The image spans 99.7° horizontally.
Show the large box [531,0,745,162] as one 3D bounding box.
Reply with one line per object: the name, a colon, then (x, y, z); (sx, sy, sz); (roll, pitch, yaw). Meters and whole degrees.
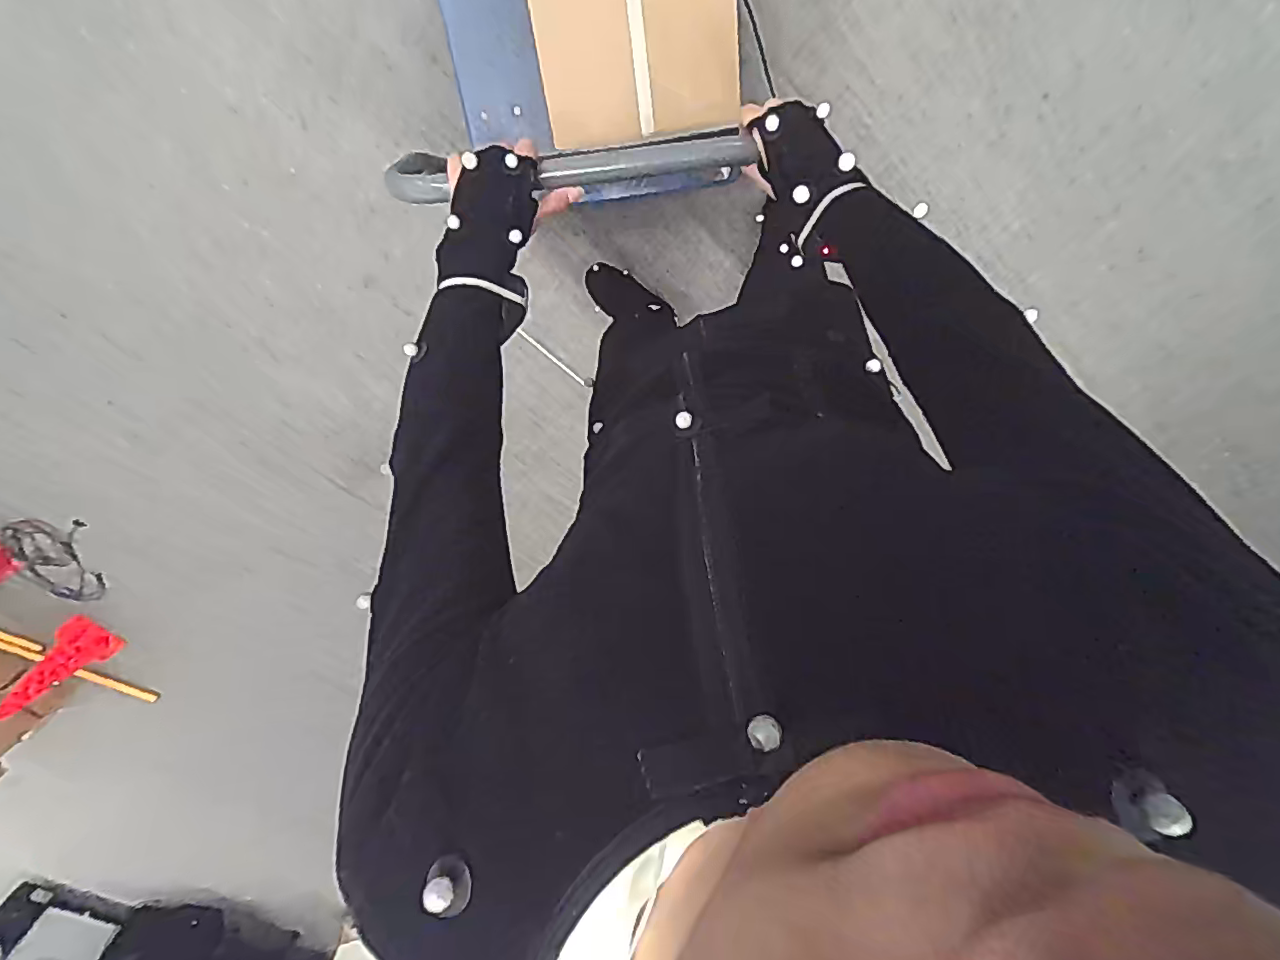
large box: (-0.011, -0.807, 0.931); (0.320, 0.320, 0.408); (-8, 118, 3)
